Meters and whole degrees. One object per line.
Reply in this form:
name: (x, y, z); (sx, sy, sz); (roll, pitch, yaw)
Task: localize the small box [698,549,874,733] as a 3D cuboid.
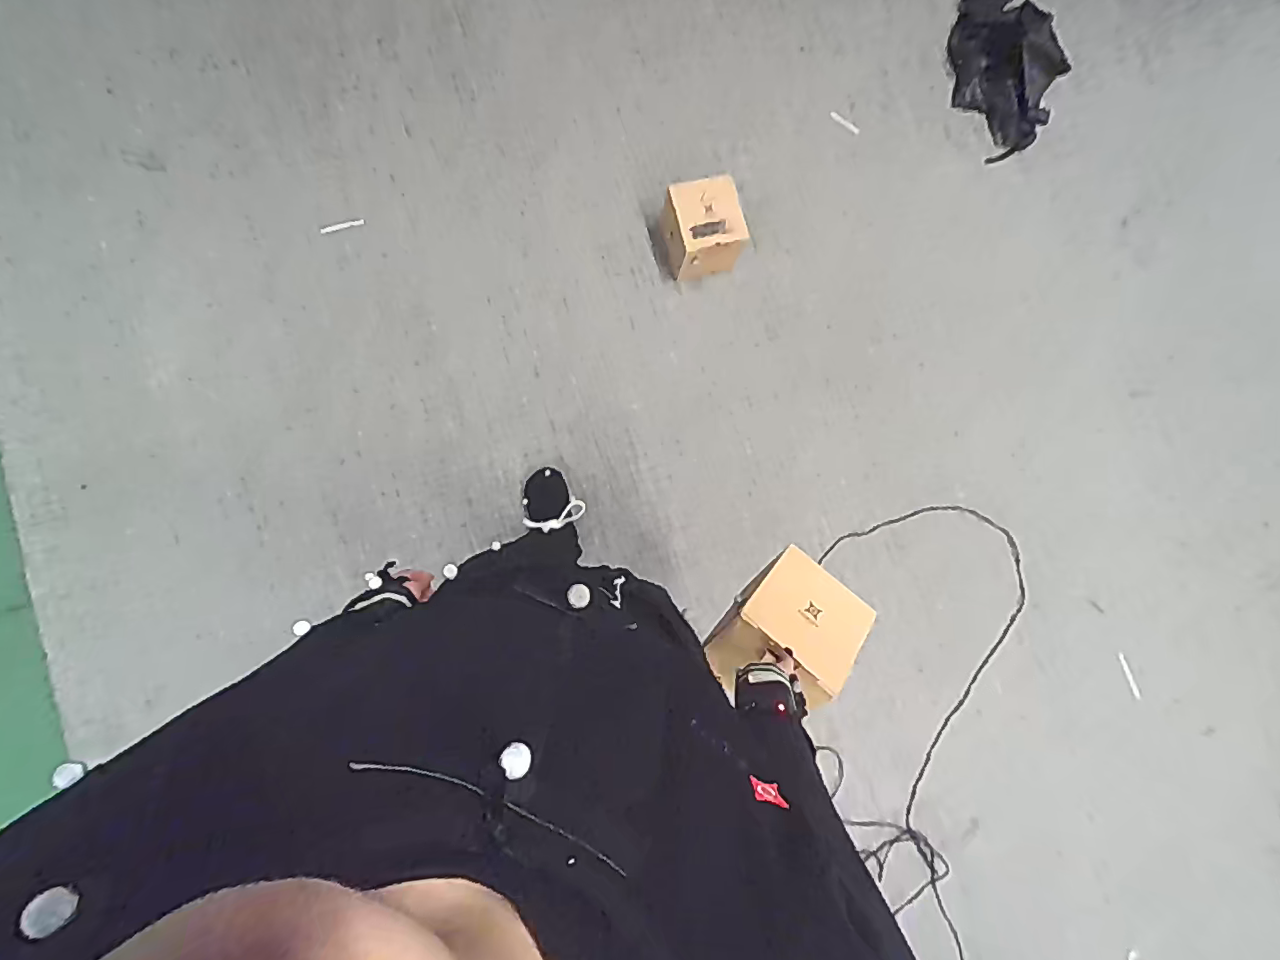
small box: (0.214, 0.244, 0.821); (0.168, 0.176, 0.179); (40, 47, 11)
